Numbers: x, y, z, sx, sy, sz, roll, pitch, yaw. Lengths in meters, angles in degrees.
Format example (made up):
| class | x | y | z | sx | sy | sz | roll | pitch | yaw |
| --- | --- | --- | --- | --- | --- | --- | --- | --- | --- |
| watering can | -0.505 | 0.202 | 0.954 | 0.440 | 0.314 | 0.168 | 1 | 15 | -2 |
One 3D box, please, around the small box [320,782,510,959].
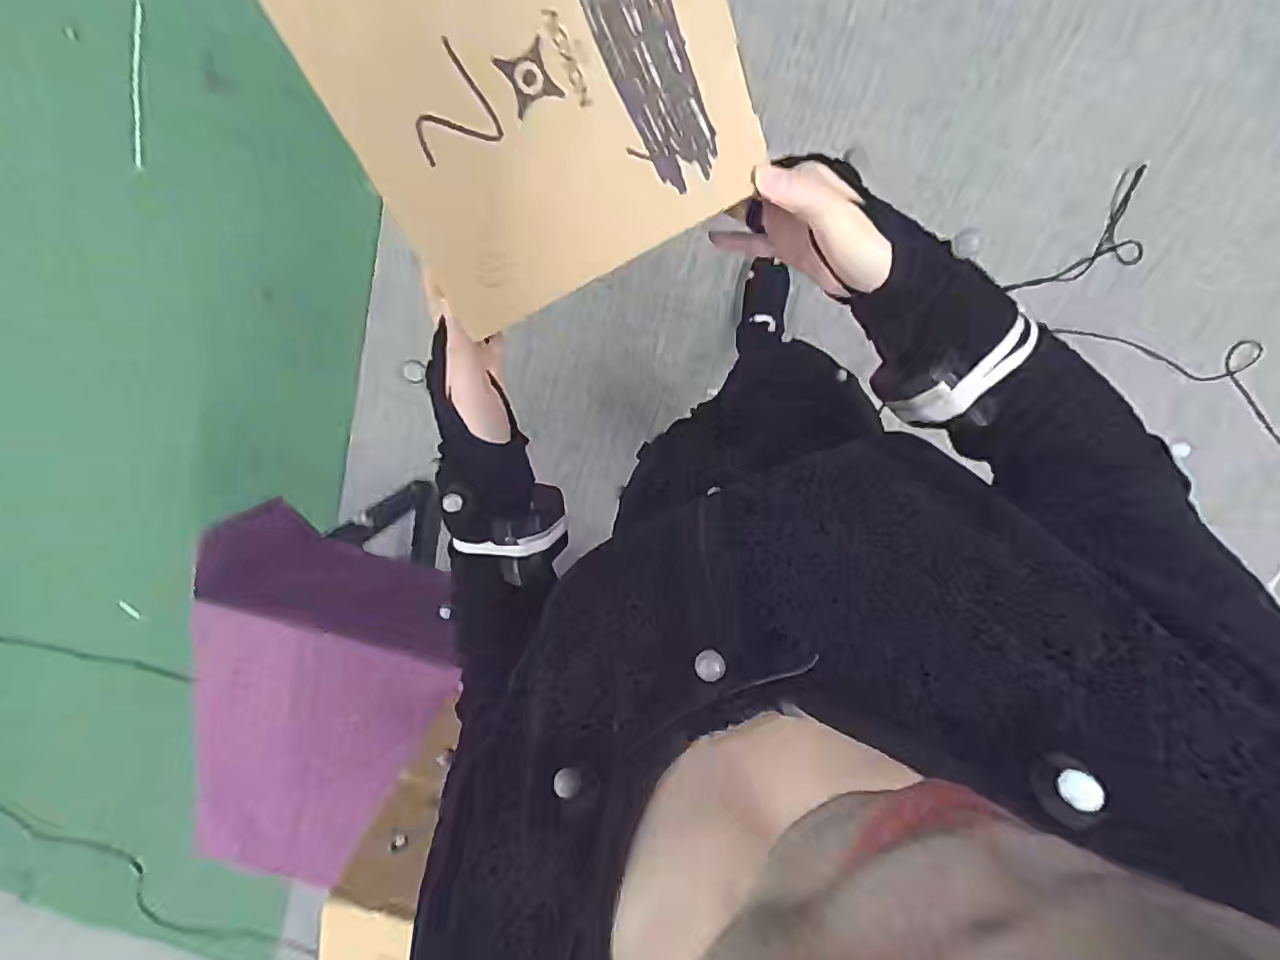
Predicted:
| class | x | y | z | sx | sy | sz | roll | pitch | yaw |
| --- | --- | --- | --- | --- | --- | --- | --- | --- | --- |
| small box | -0.279 | 0.531 | 0.695 | 0.168 | 0.176 | 0.179 | 15 | 109 | 1 |
